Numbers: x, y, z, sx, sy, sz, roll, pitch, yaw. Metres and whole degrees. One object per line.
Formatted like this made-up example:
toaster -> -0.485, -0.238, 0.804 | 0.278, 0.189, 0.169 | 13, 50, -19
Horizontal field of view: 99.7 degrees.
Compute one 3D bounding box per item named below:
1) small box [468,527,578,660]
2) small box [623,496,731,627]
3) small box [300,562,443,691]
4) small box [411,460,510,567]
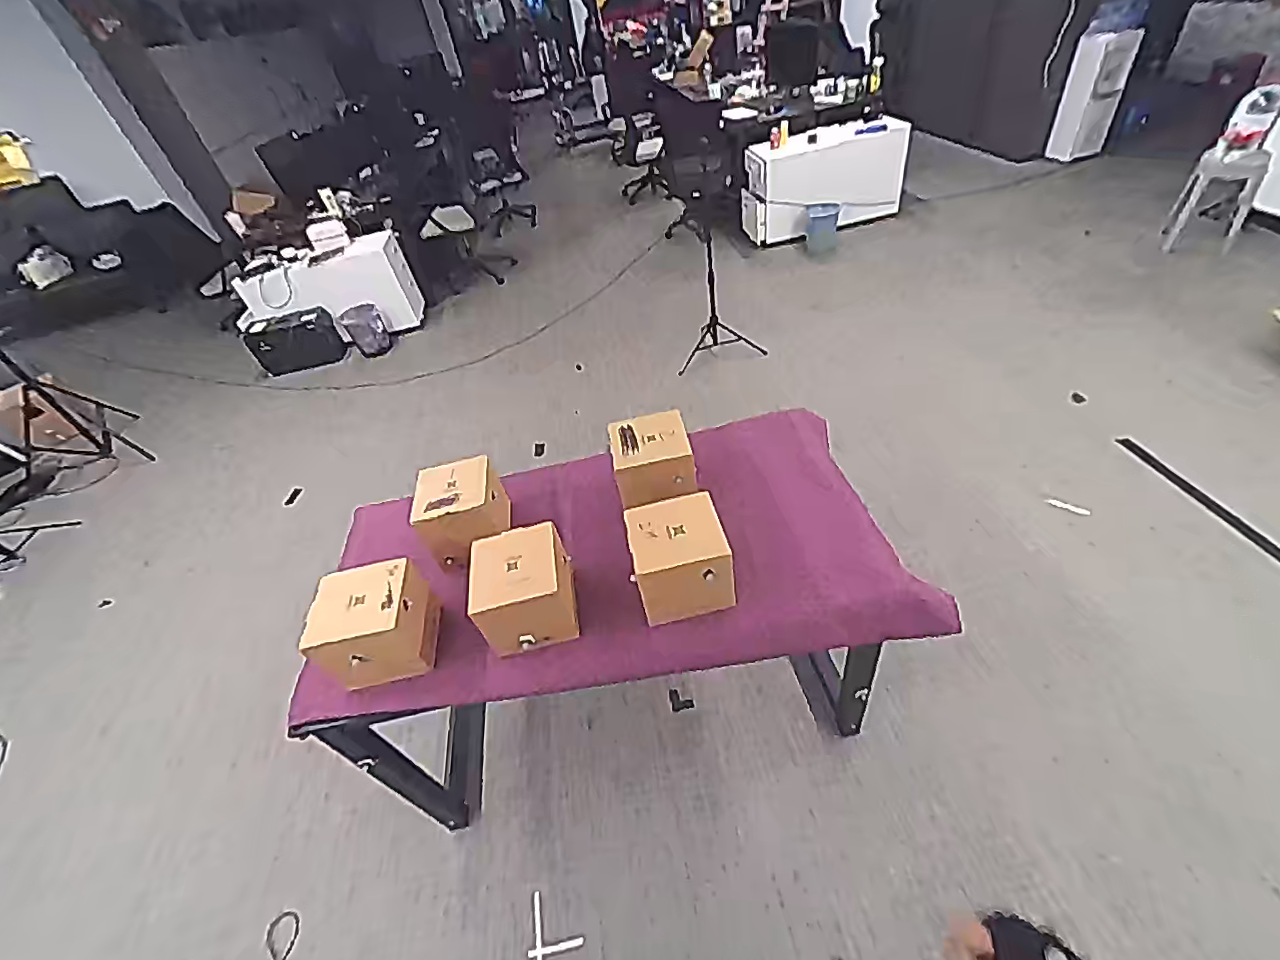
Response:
small box -> -0.227, 0.225, 1.071 | 0.168, 0.176, 0.179 | -14, 44, -1
small box -> 0.075, 0.161, 1.061 | 0.179, 0.176, 0.168 | -14, 42, 0
small box -> -0.515, 0.292, 1.065 | 0.179, 0.176, 0.168 | -13, 43, 0
small box -> -0.410, 0.085, 1.263 | 0.168, 0.176, 0.179 | -13, 42, -1
